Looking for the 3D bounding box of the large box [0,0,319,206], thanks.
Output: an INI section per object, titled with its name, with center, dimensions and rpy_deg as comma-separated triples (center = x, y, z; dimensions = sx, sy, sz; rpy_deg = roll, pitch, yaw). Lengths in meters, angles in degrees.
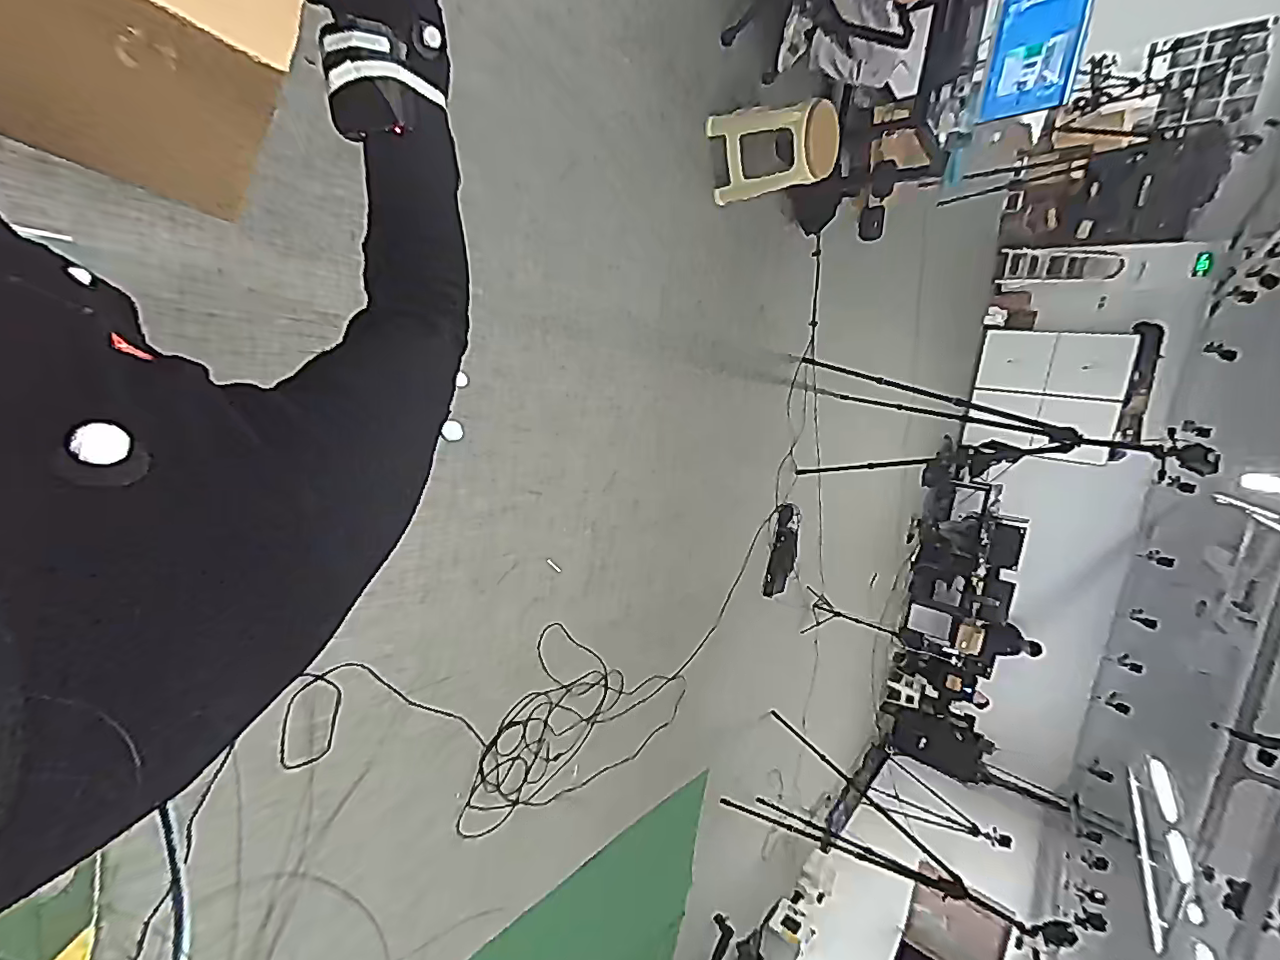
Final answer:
[large box]
center = -0.456, -0.468, 0.364
dimensions = 0.408, 0.320, 0.320
rpy_deg = 12, 85, -41
